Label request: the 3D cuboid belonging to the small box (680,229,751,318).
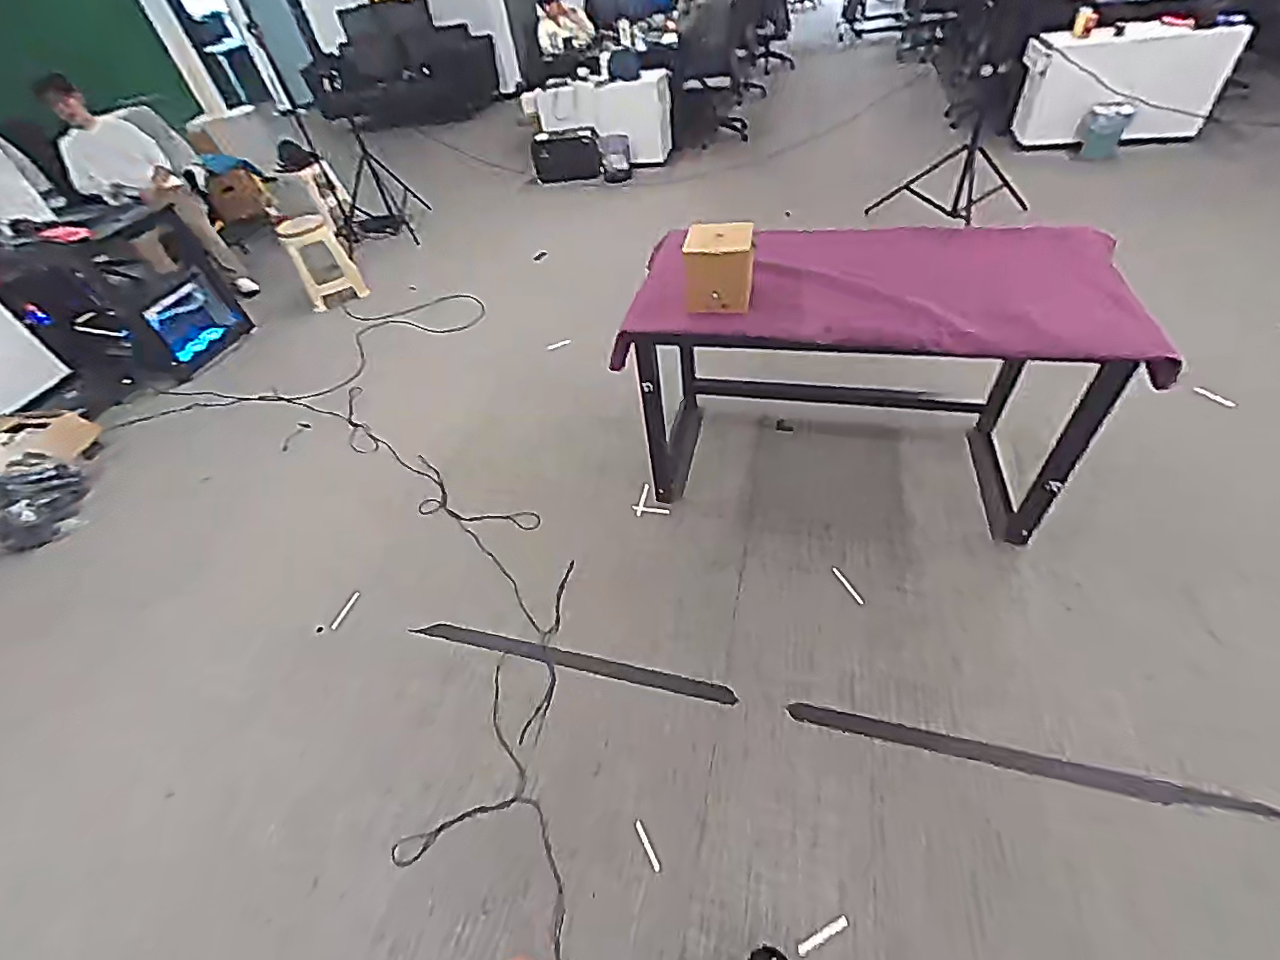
[{"bbox_3d":[0.205,-0.552,1.445,0.168,0.176,0.179,4,47,13],"label":"small box"}]
